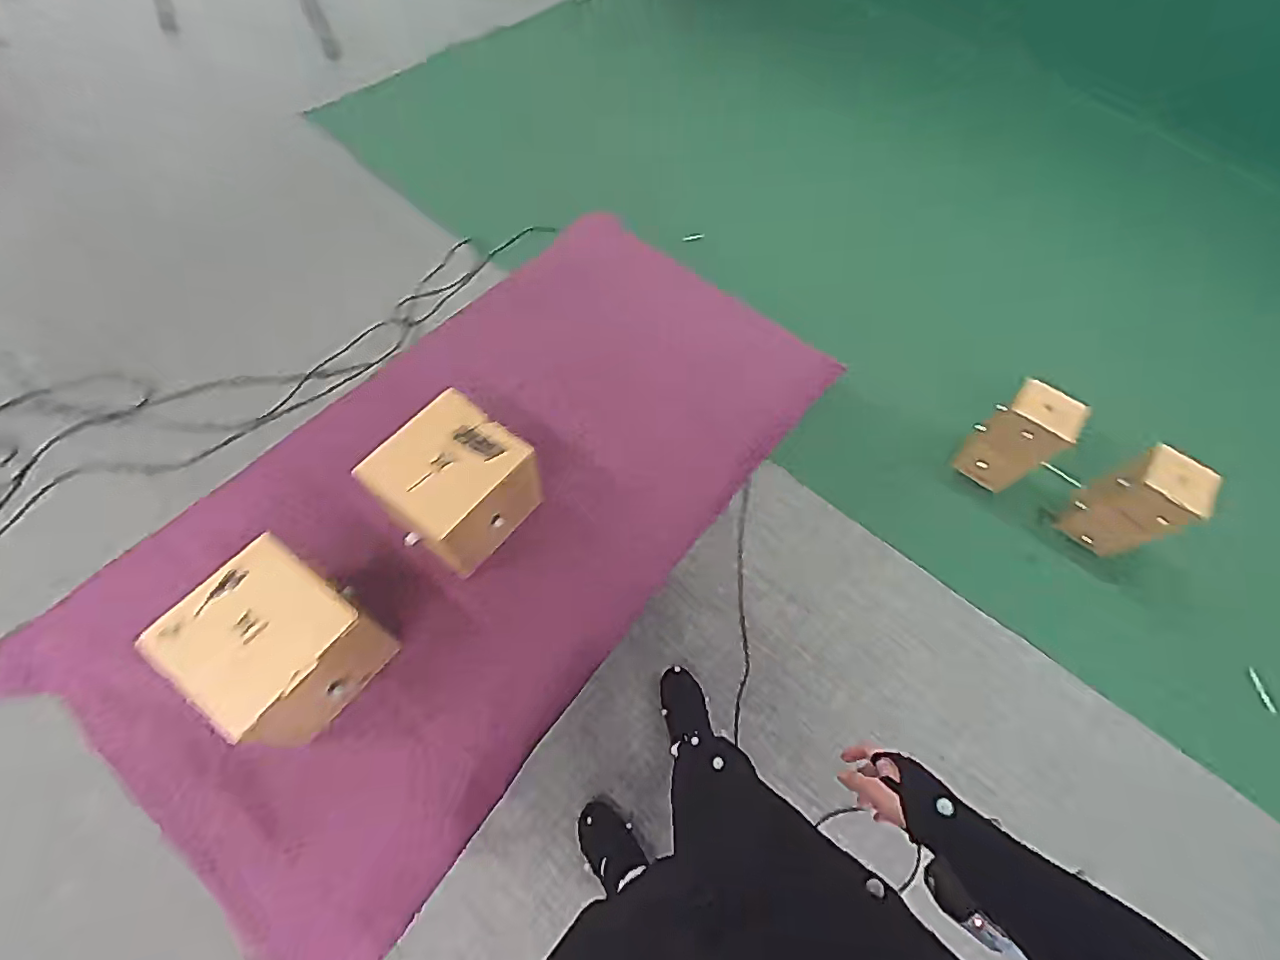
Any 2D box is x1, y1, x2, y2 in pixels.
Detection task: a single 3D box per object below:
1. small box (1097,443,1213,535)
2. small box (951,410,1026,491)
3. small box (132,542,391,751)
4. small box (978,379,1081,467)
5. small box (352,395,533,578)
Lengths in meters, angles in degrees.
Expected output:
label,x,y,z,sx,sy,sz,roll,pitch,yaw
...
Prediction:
label,x,y,z,sx,sy,sz,roll,pitch,yaw
small box,1.497,0.032,1.582,0.168,0.176,0.179,37,66,13
small box,1.180,-0.093,1.807,0.168,0.176,0.179,36,64,14
small box,-0.453,0.213,0.682,0.179,0.176,0.168,35,65,12
small box,1.187,-0.168,1.661,0.179,0.176,0.168,36,65,13
small box,-0.275,0.015,0.802,0.168,0.176,0.179,35,66,13
